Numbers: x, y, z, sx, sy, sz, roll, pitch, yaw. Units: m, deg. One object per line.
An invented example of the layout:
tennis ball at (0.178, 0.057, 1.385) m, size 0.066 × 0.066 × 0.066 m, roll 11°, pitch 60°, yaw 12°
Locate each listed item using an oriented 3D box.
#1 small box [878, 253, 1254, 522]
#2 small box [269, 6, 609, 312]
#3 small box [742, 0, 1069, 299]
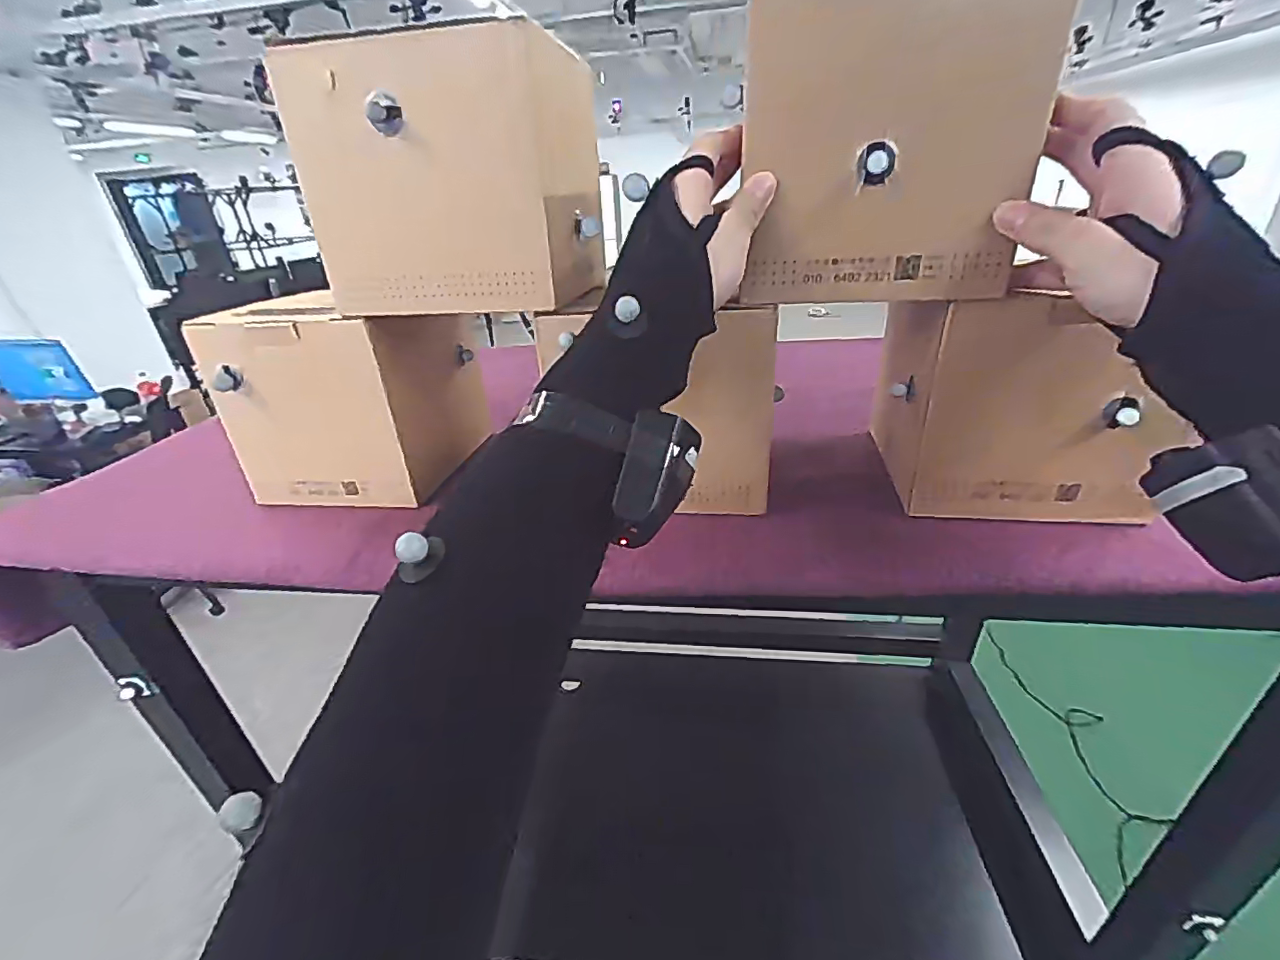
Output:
small box at (0.301, -0.079, 0.437) m, size 0.168 × 0.176 × 0.179 m, roll 2°, pitch 28°, yaw 12°
small box at (-0.130, -0.231, 0.425) m, size 0.179 × 0.176 × 0.168 m, roll 2°, pitch 28°, yaw 10°
small box at (0.161, -0.228, 0.384) m, size 0.168 × 0.176 × 0.179 m, roll 3°, pitch 29°, yaw 12°
